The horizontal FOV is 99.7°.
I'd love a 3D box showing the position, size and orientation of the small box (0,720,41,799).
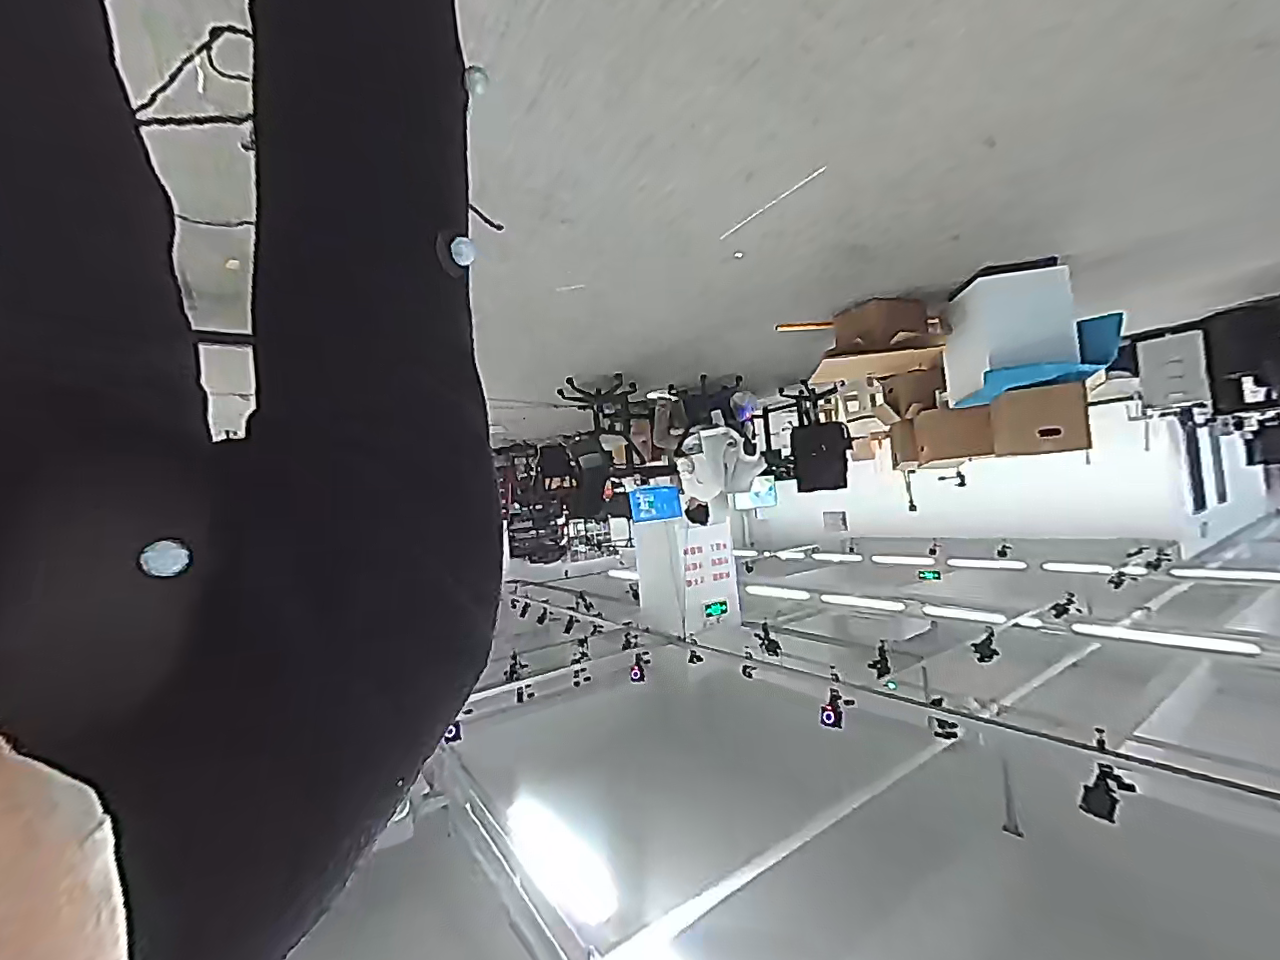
[{"bbox_3d":[-1.881,0.819,1.563,0.168,0.176,0.179,-6,-179,-36],"label":"small box"}]
